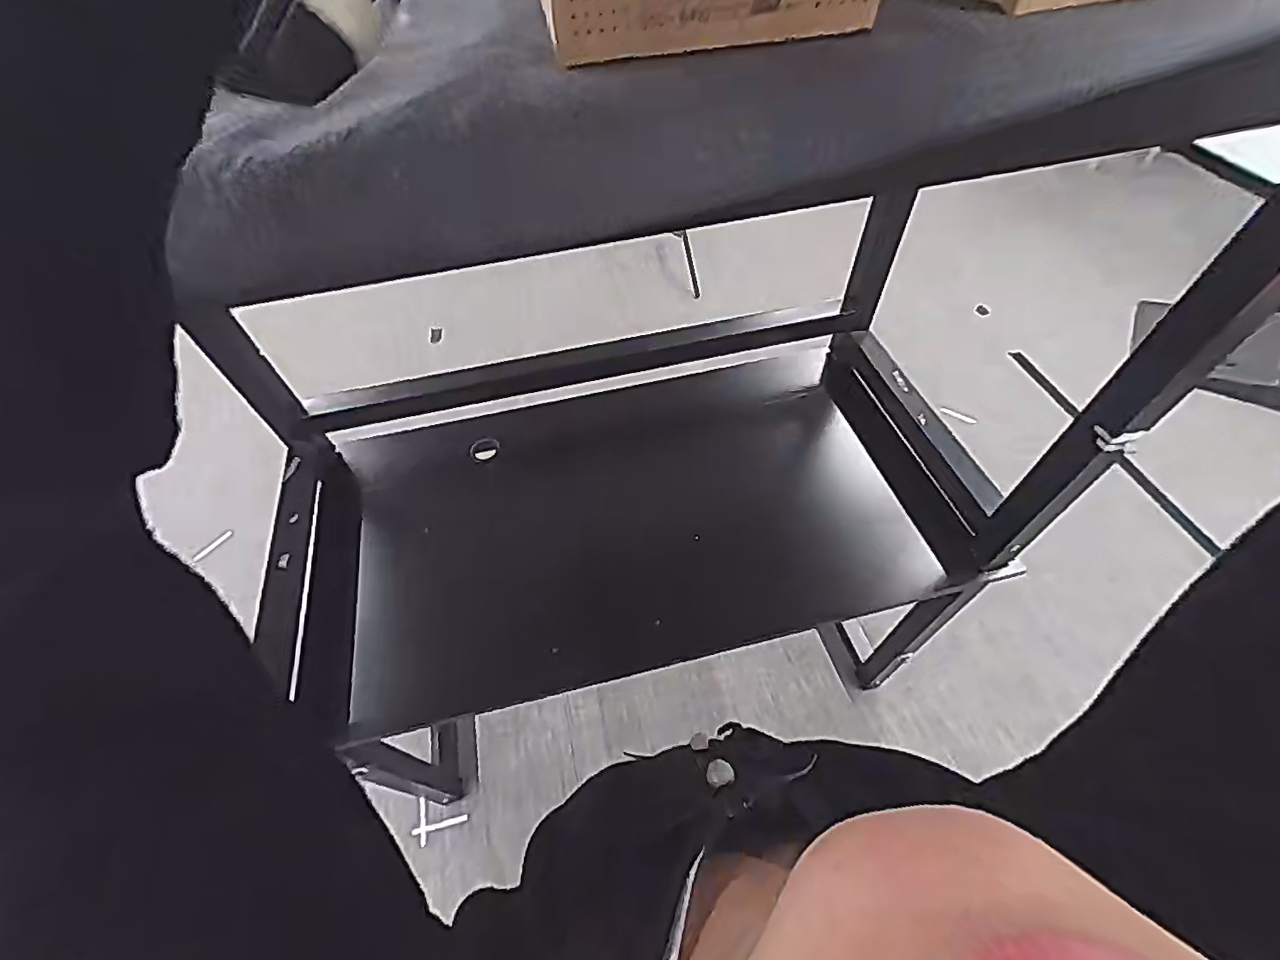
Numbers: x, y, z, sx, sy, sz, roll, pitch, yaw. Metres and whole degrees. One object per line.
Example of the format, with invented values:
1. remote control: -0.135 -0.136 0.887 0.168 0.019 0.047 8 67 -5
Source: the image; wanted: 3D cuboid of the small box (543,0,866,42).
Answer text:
1. small box: 0.023 -0.336 0.259 0.168 0.176 0.179 -10 53 -4
